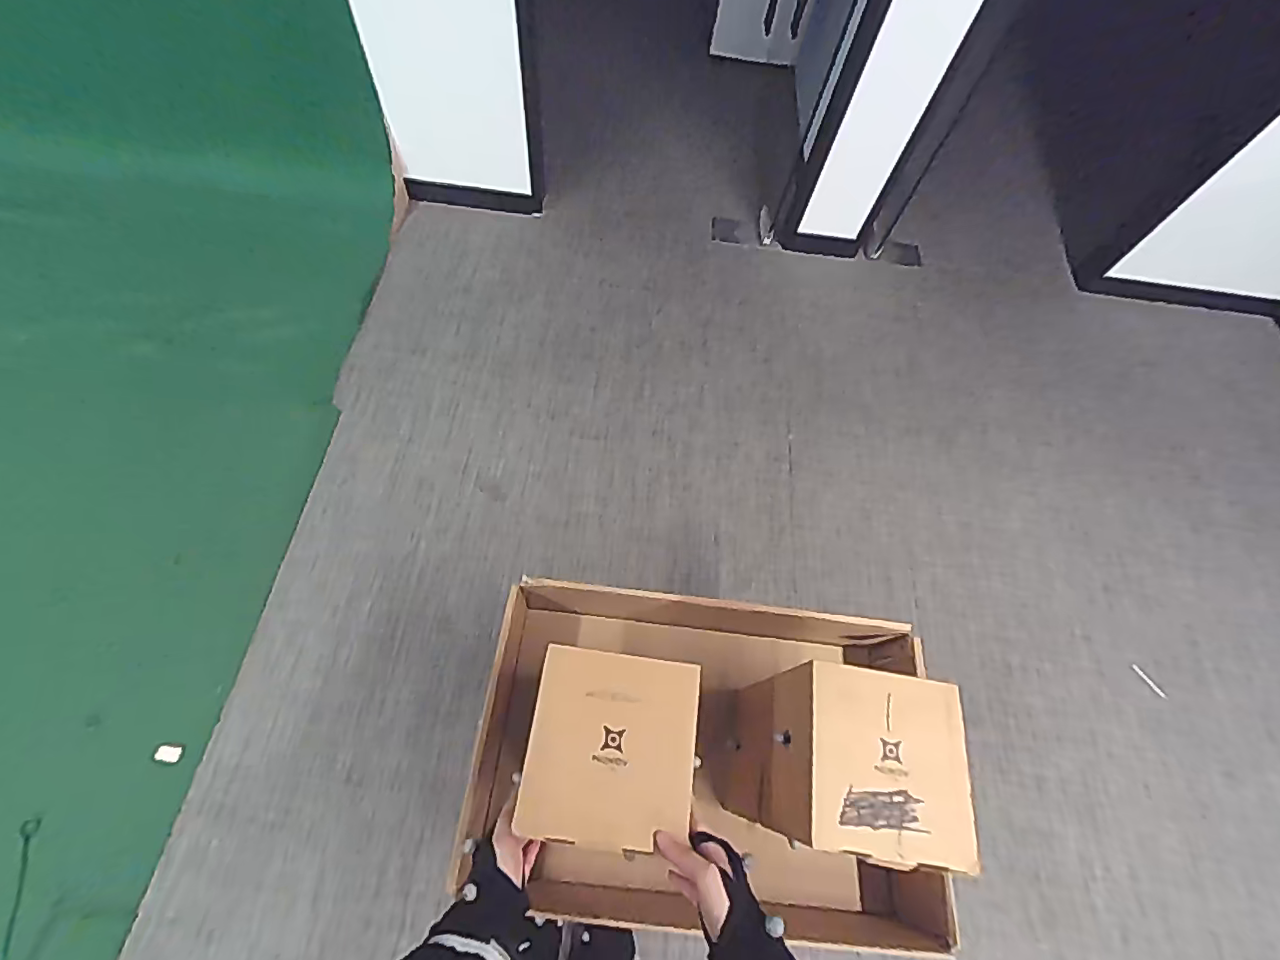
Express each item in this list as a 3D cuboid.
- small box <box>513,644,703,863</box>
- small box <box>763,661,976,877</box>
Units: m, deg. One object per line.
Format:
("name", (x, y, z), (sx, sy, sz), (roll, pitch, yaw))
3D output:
("small box", (-0.033, 0.298, 0.606), (0.168, 0.176, 0.179), (10, 62, -2))
("small box", (0.247, 0.324, 0.624), (0.168, 0.176, 0.179), (11, 62, -1))
